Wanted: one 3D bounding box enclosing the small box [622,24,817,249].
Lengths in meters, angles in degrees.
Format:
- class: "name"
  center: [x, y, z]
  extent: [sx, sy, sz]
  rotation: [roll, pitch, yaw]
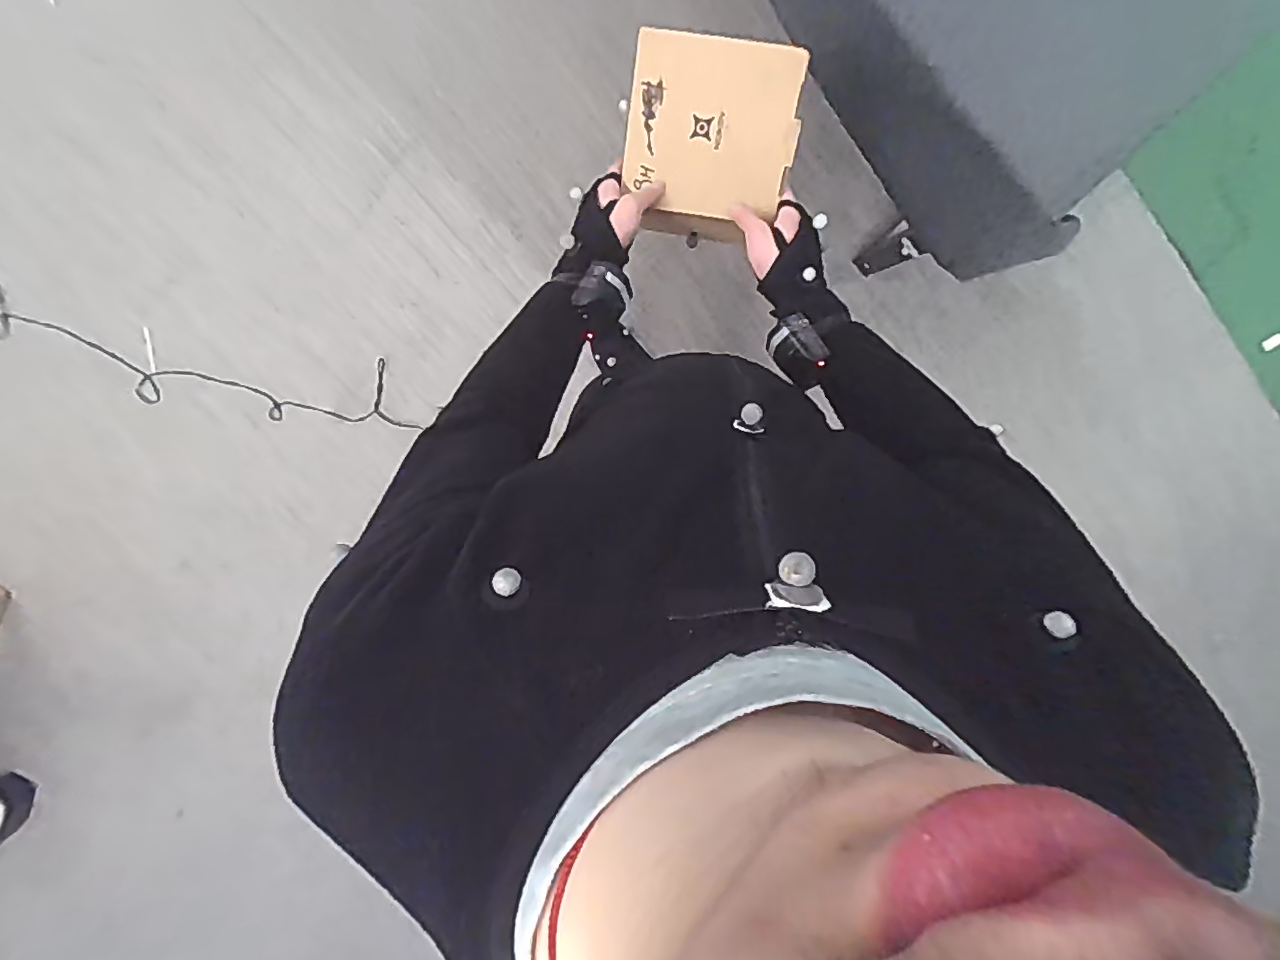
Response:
- class: "small box"
  center: [0.078, -0.375, 0.626]
  extent: [0.179, 0.176, 0.168]
  rotation: [8, 105, -2]
